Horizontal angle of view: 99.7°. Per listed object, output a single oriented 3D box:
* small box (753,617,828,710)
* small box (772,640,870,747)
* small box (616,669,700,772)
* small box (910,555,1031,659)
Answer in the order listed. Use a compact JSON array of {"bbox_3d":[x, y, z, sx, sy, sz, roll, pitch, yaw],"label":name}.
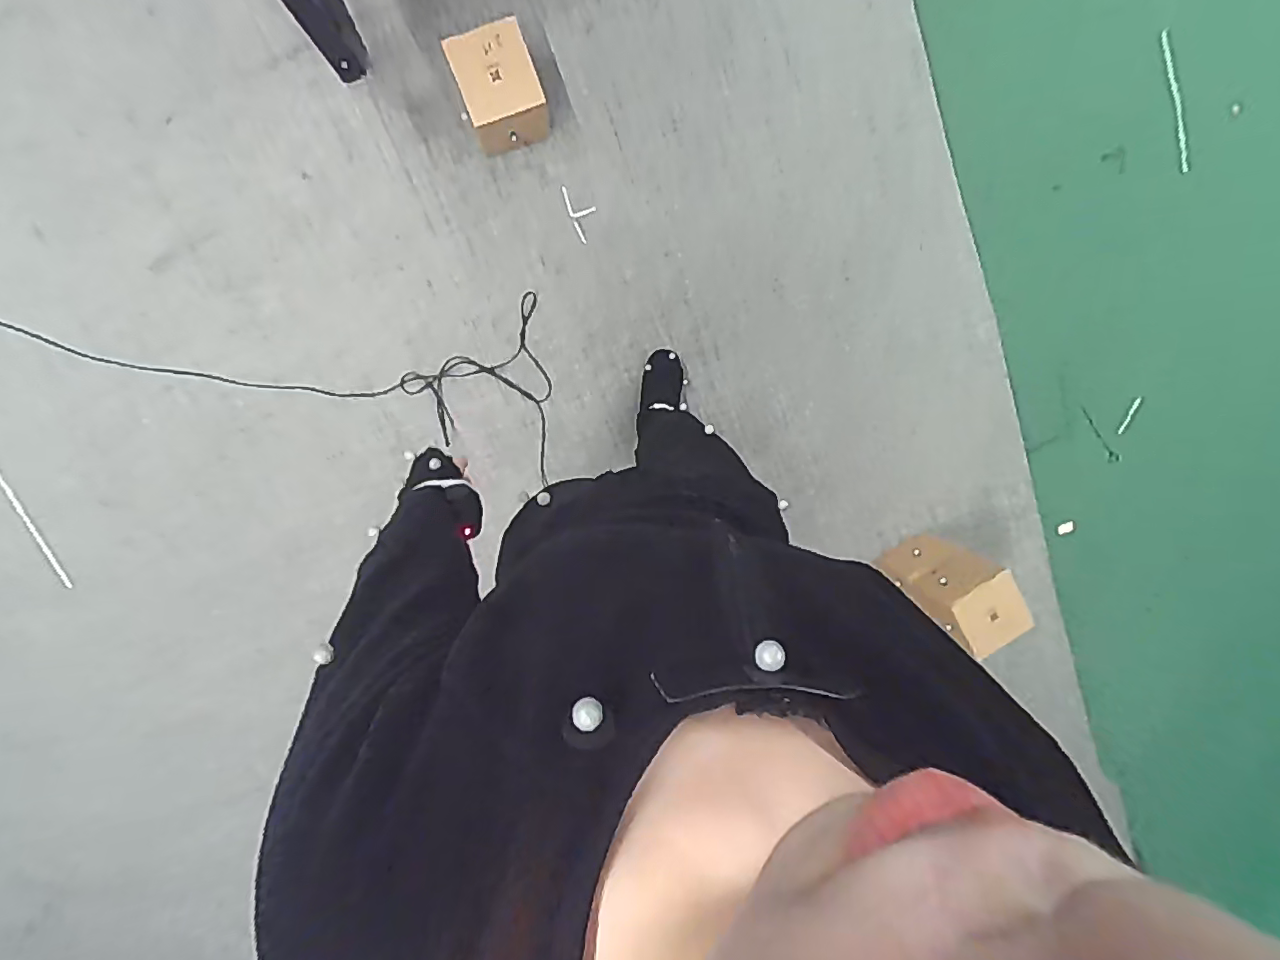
[{"bbox_3d":[0.428,0.508,1.519,0.179,0.176,0.168,-15,101,-3],"label":"small box"},{"bbox_3d":[0.444,0.527,1.356,0.179,0.176,0.168,-14,101,-5],"label":"small box"},{"bbox_3d":[0.044,0.659,1.503,0.179,0.176,0.168,-23,101,-1],"label":"small box"},{"bbox_3d":[0.823,0.307,1.363,0.168,0.176,0.179,-32,102,0],"label":"small box"}]
